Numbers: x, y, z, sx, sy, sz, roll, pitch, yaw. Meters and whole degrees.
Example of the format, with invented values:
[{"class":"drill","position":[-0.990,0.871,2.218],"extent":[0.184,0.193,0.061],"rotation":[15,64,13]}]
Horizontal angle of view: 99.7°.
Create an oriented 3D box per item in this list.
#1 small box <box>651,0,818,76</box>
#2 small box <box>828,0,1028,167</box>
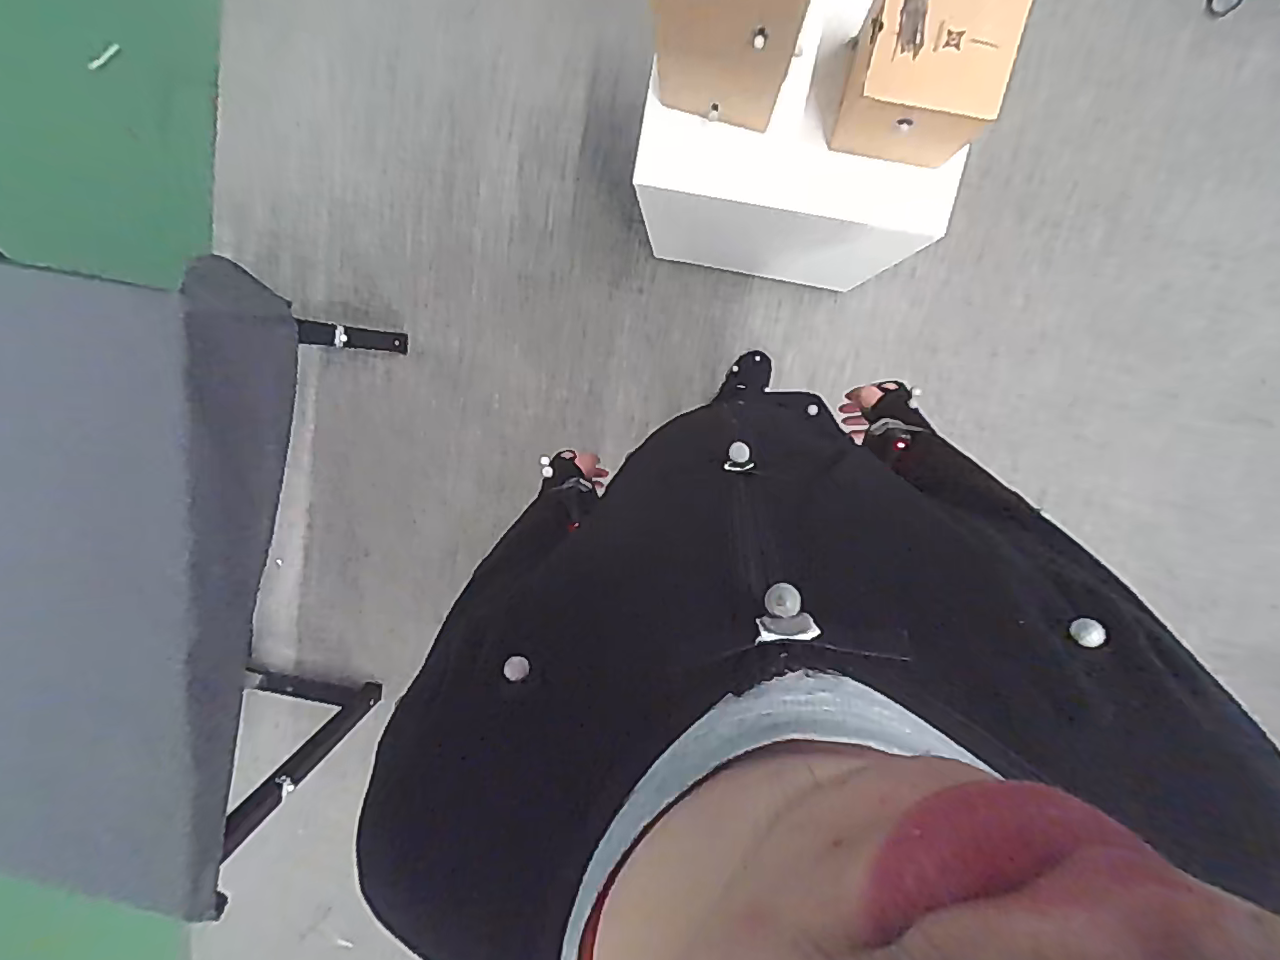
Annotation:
[{"class":"small box","position":[0.113,-0.583,0.589],"extent":[0.179,0.176,0.168],"rotation":[12,99,1]},{"class":"small box","position":[0.380,-0.560,0.745],"extent":[0.179,0.176,0.168],"rotation":[11,100,0]}]
